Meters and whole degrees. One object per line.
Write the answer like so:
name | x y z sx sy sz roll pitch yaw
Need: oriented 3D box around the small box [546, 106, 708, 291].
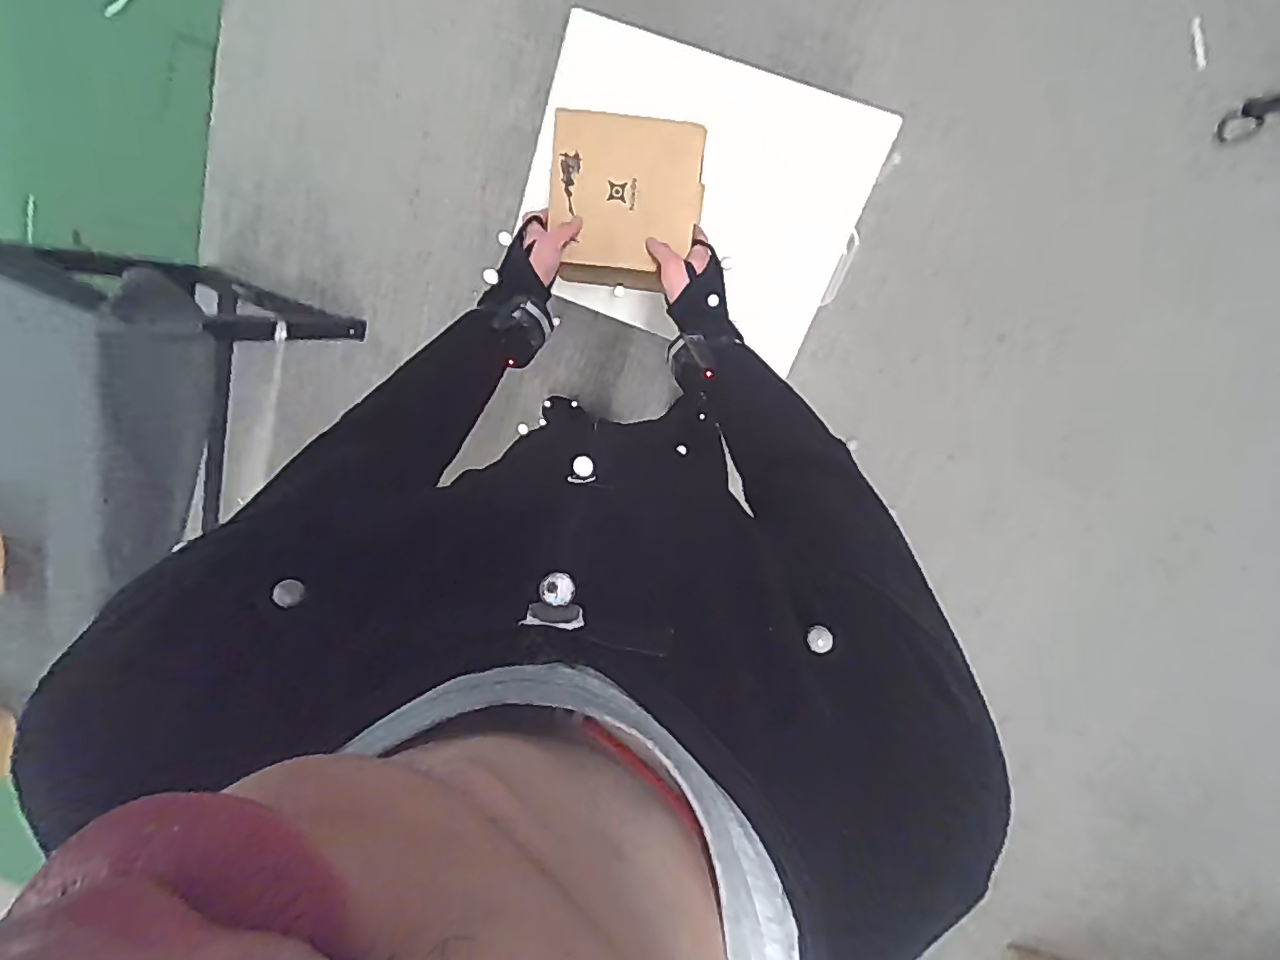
small box | -0.021 -0.343 0.695 0.179 0.176 0.168 4 102 -3

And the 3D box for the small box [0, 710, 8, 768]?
small box | -1.608 0.616 1.230 0.168 0.176 0.179 22 107 4
